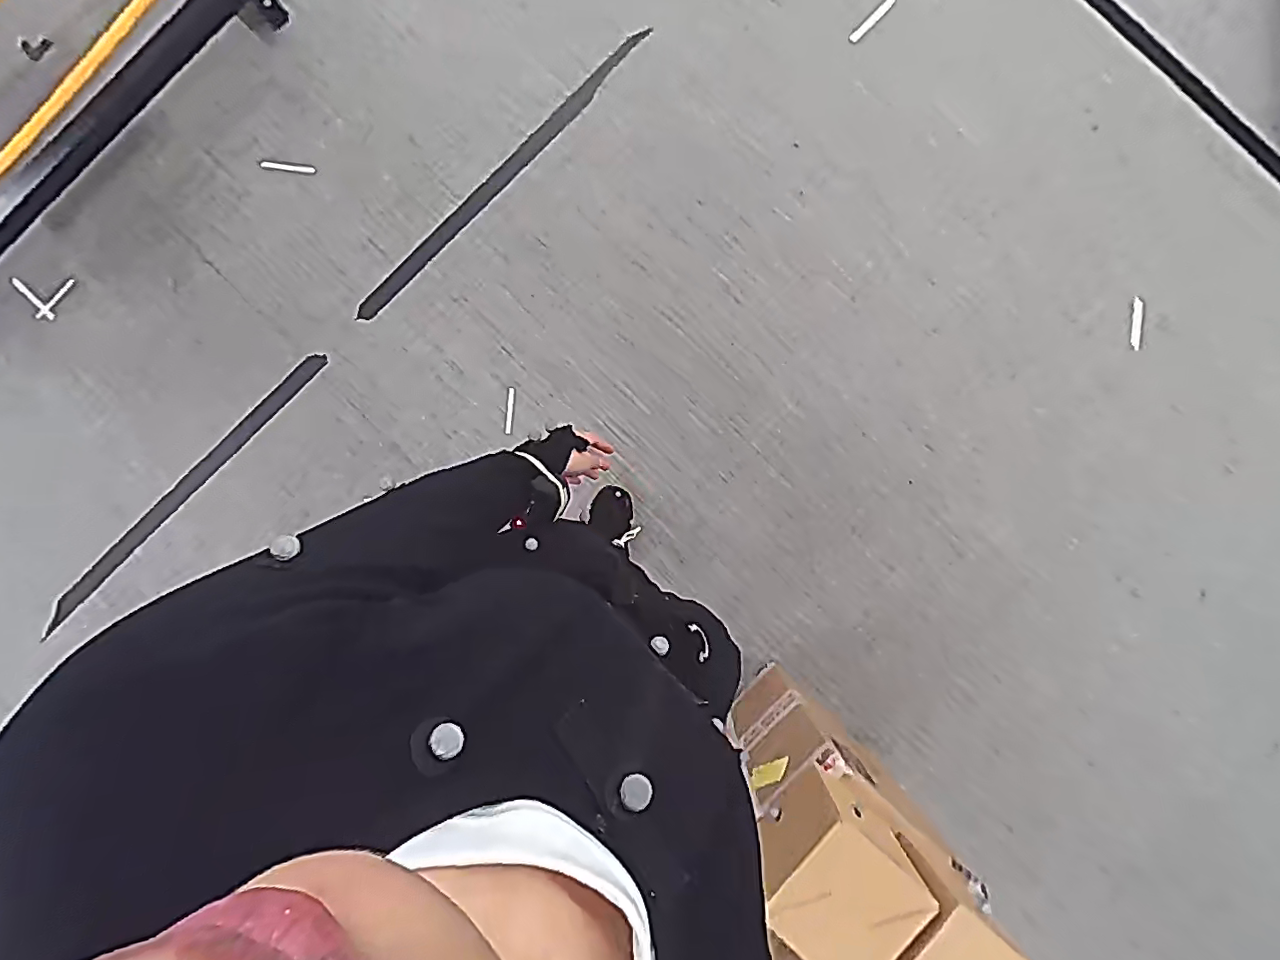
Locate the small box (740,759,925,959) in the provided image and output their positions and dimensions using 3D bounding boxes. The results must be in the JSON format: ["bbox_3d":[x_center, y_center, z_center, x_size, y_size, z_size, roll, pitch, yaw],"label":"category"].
[{"bbox_3d":[0.274,0.567,0.798,0.168,0.176,0.179,42,90,4],"label":"small box"}]
